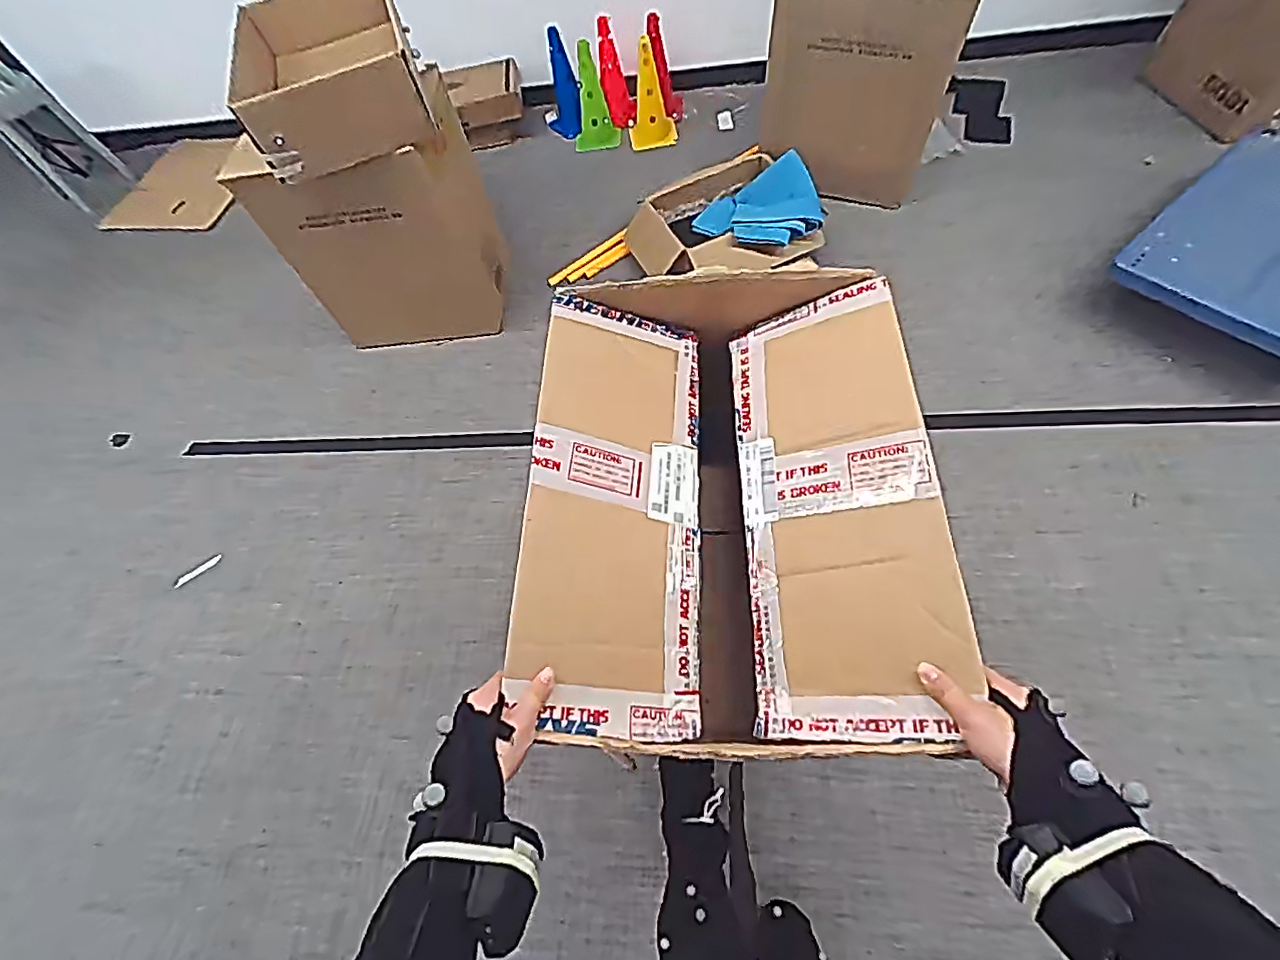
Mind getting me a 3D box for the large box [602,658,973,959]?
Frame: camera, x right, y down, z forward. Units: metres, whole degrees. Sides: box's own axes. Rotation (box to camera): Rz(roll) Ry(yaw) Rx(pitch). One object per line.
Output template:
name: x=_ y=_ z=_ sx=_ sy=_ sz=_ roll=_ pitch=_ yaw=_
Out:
large box: x=0.184 y=0.525 z=0.701 sx=0.320 sy=0.408 sz=0.320 roll=-25 pitch=24 yaw=-5
